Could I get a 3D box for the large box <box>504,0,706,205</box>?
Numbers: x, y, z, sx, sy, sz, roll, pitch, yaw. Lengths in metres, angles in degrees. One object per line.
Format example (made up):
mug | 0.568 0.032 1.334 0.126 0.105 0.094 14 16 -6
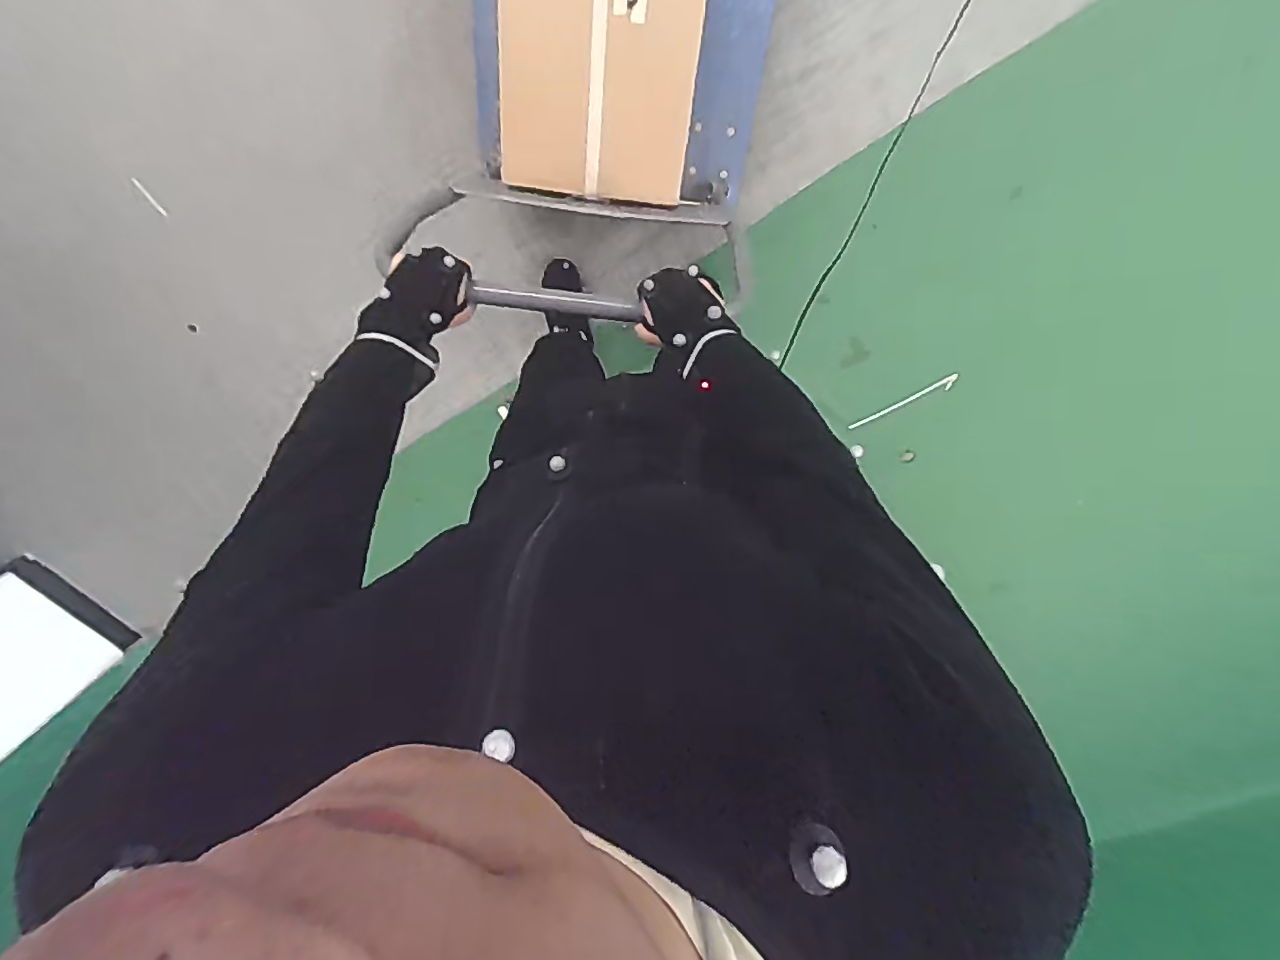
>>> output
large box | -0.053 -0.750 0.988 0.320 0.320 0.408 7 121 -1
